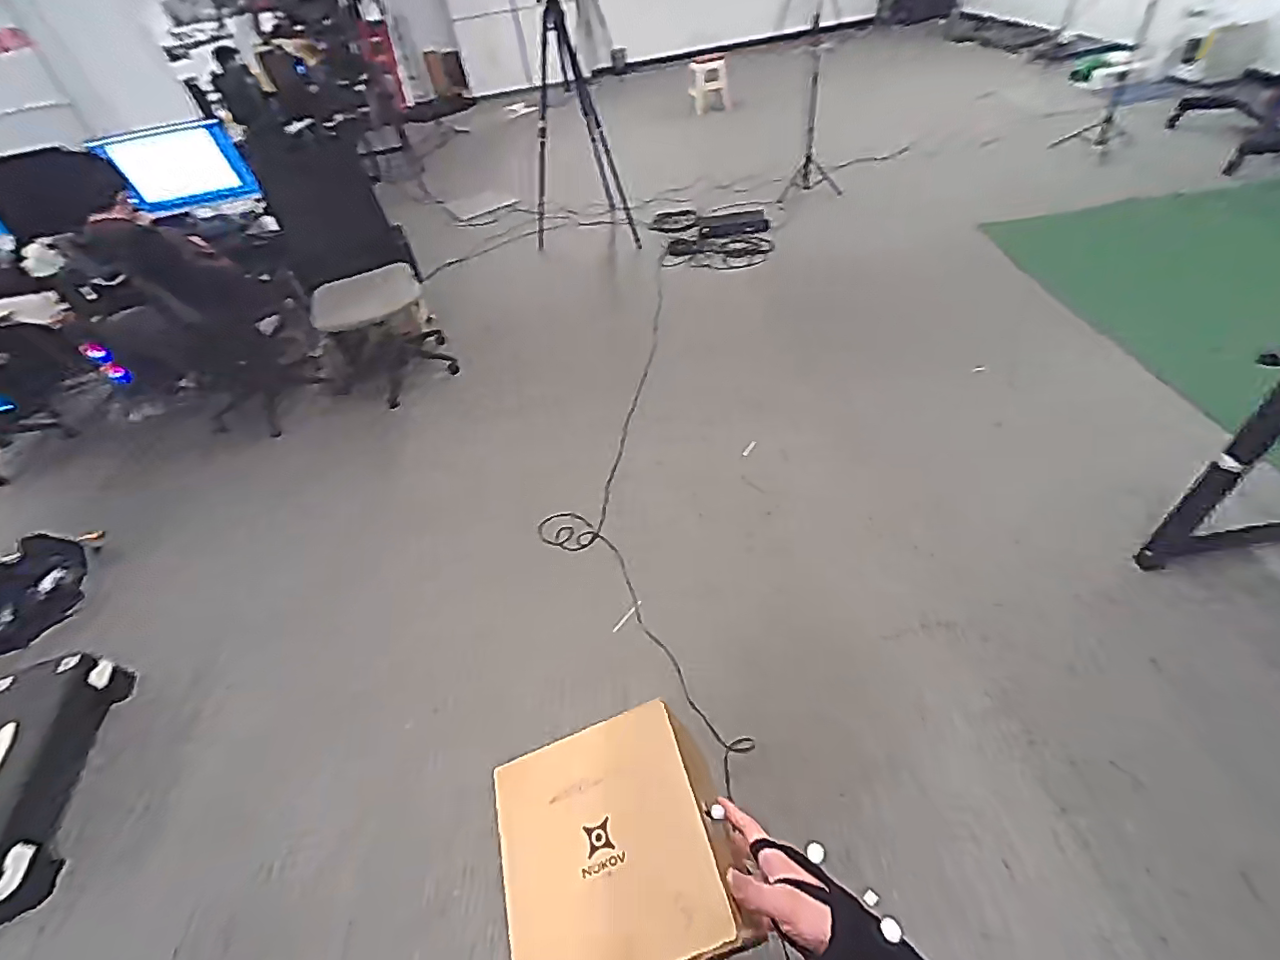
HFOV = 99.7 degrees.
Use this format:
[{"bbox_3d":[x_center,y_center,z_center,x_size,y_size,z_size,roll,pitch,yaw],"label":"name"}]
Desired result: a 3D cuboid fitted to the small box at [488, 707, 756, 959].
[{"bbox_3d":[-0.013,0.336,0.475,0.168,0.176,0.179,-24,46,2],"label":"small box"}]
